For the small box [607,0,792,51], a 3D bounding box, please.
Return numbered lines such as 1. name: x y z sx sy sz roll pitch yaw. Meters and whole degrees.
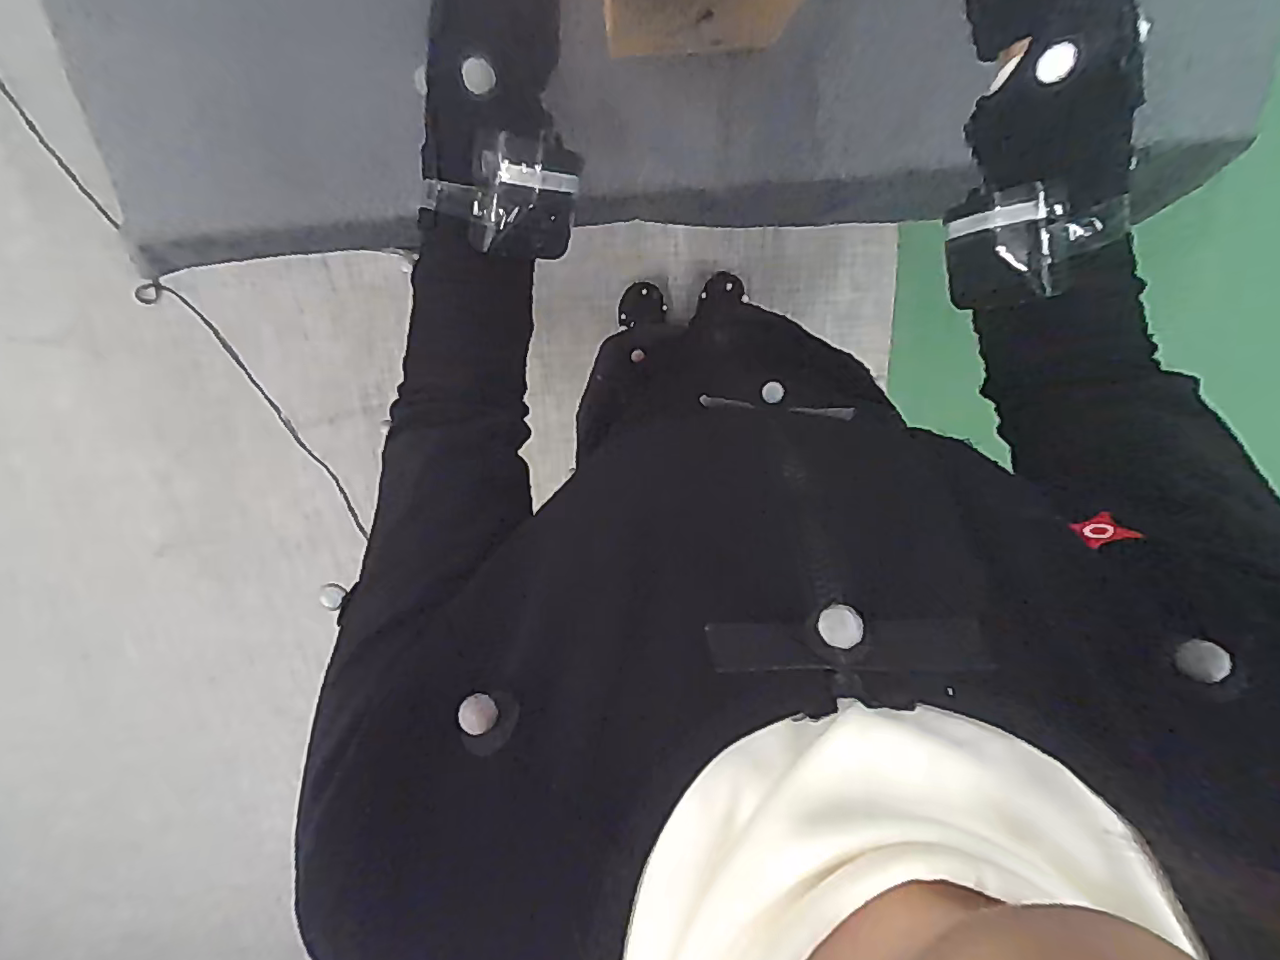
1. small box: 0.048 -0.479 0.435 0.168 0.176 0.179 -6 110 0
